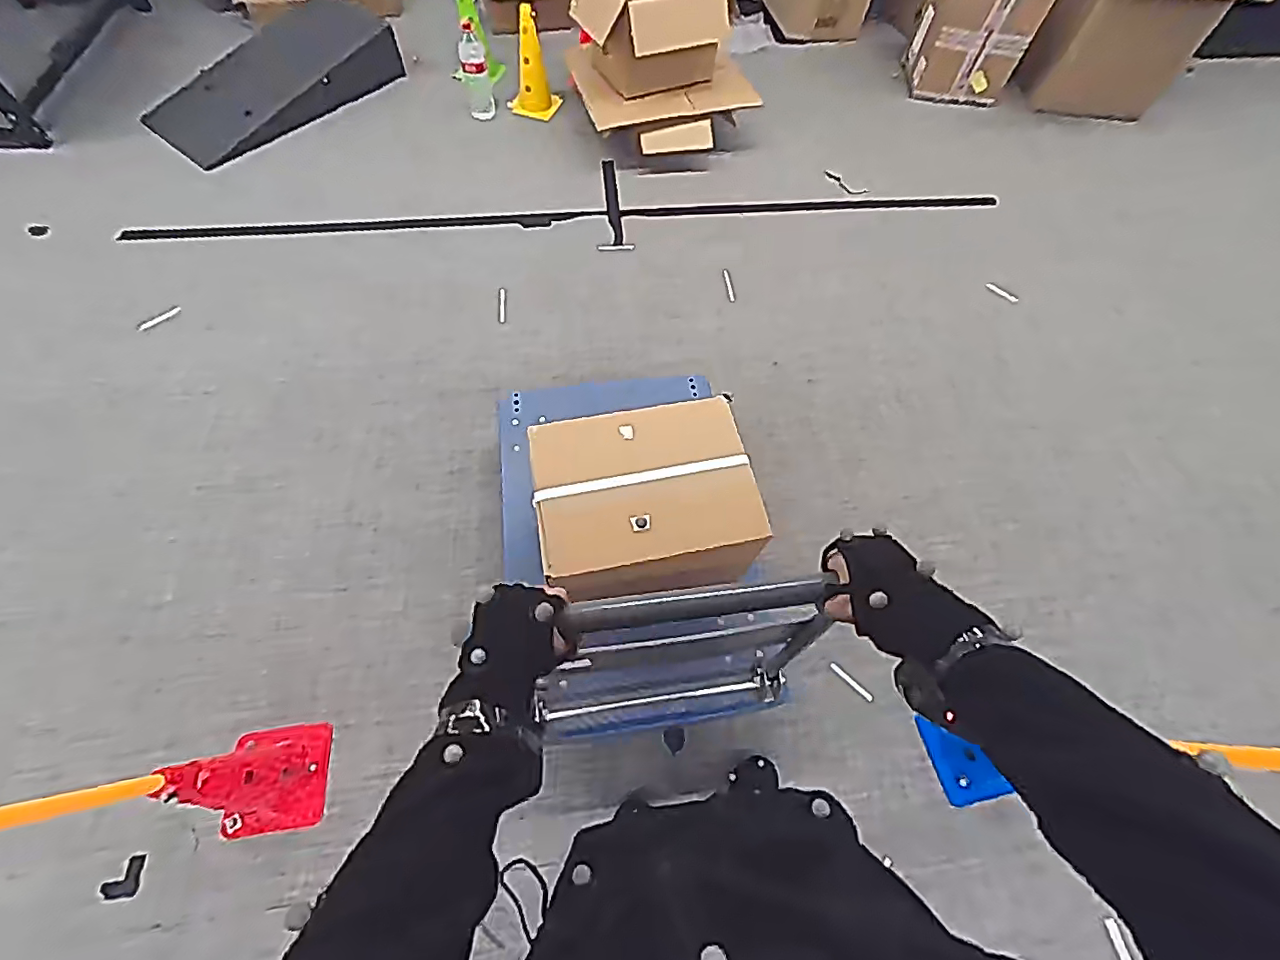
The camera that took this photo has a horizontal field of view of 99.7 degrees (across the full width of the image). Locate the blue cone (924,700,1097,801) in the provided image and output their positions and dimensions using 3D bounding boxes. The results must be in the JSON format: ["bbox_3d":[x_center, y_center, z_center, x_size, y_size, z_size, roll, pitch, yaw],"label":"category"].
[{"bbox_3d":[0.780,0.543,1.106,0.193,0.380,0.192,-8,61,-7],"label":"blue cone"}]
